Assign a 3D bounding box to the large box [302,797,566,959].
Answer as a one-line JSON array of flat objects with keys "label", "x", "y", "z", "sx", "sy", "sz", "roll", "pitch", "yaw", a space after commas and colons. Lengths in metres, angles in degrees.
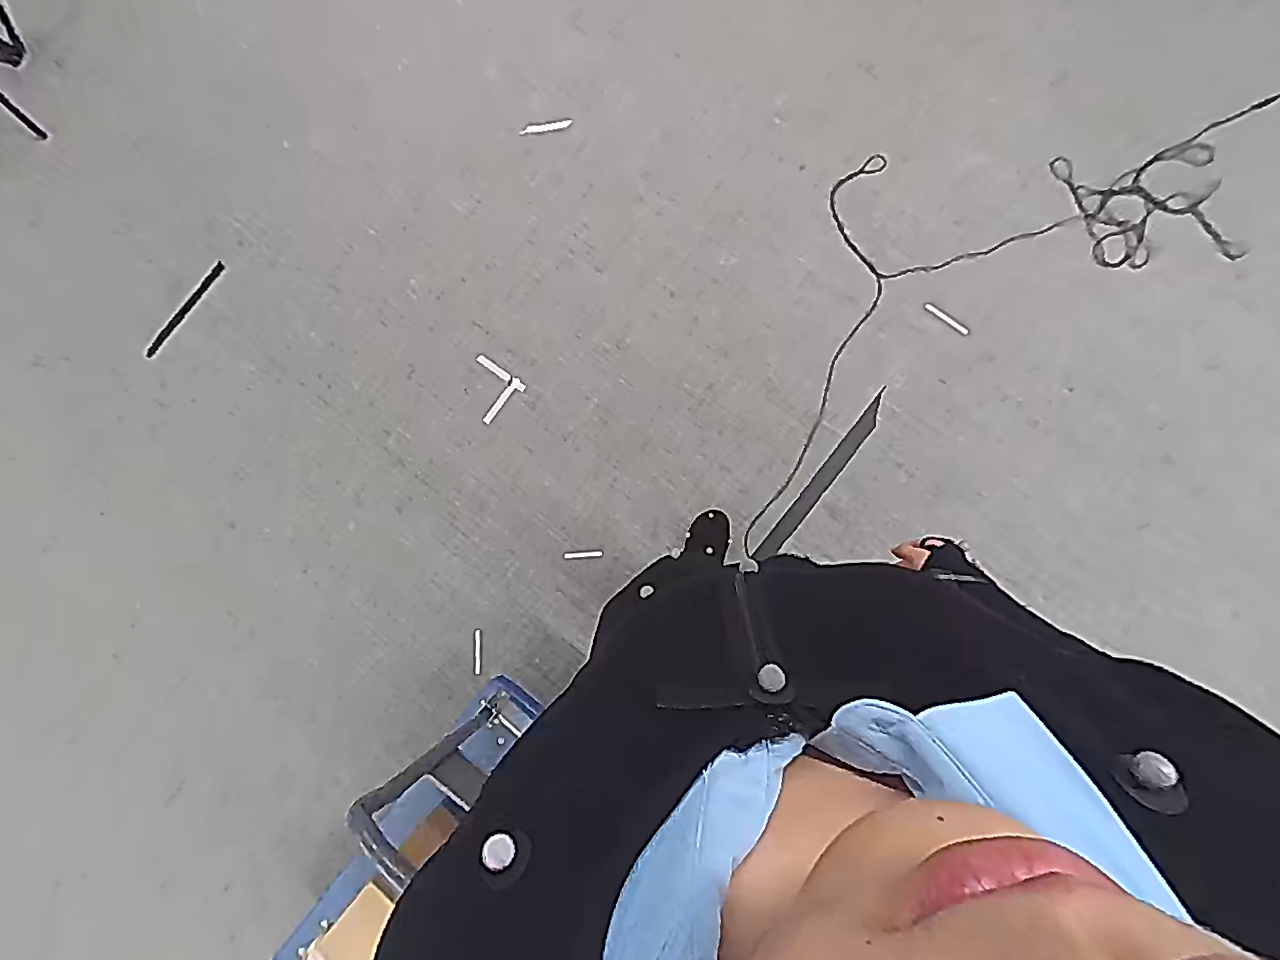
[{"label": "large box", "x": -0.420, "y": 0.969, "z": 1.116, "sx": 0.408, "sy": 0.320, "sz": 0.320, "roll": 39, "pitch": 87, "yaw": 7}]
